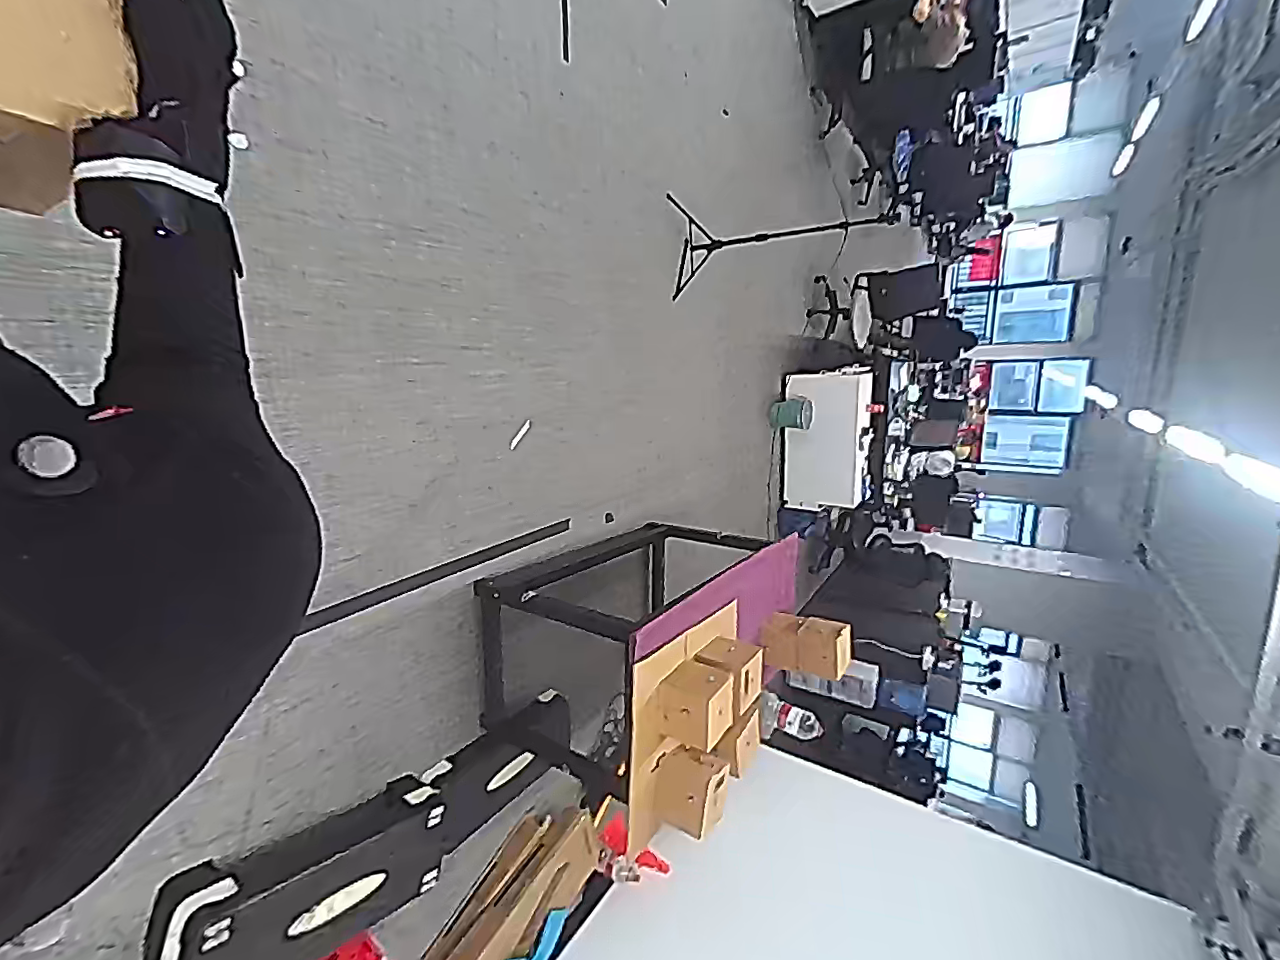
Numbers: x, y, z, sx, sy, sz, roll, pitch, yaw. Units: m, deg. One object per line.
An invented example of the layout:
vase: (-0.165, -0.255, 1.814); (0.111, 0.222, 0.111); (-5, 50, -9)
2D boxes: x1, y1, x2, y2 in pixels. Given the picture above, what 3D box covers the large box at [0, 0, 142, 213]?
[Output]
large box: (-0.595, -0.387, 0.294); (0.408, 0.320, 0.320); (-8, 105, -57)
